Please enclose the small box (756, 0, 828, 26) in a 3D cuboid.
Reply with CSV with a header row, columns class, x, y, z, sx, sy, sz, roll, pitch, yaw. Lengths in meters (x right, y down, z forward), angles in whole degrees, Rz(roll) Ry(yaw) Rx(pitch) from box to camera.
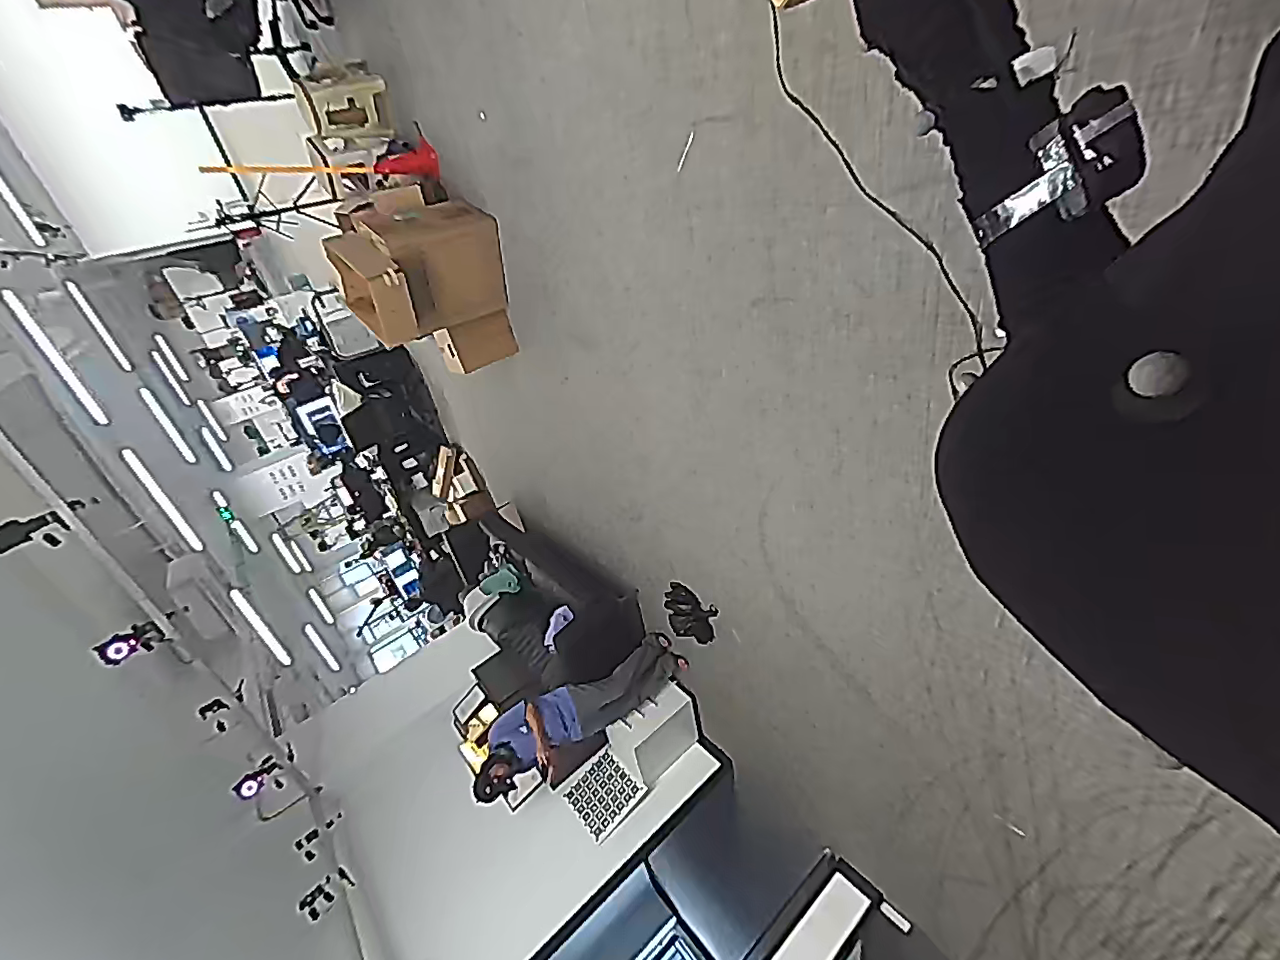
class,x,y,z,sx,sy,sz,roll,pitch,yaw
small box,0.144,-0.462,0.349,0.179,0.176,0.168,56,158,-8
